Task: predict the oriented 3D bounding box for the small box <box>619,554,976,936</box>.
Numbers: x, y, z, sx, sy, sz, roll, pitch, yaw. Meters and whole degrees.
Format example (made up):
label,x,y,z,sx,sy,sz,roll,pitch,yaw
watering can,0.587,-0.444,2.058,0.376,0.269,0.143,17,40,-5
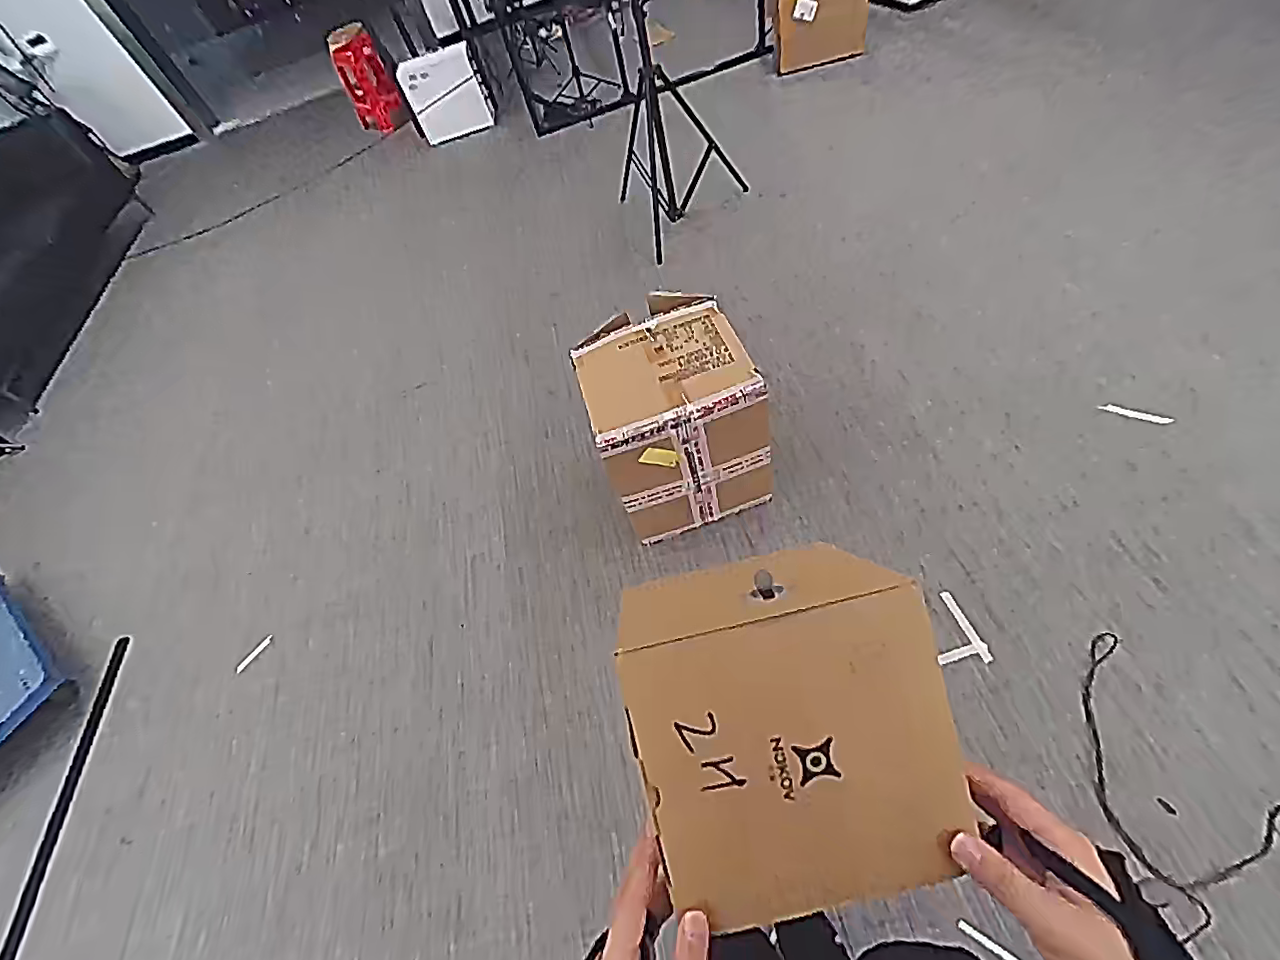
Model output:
label,x,y,z,sx,sy,sz,roll,pitch,yaw
small box,0.088,0.158,0.383,0.179,0.176,0.168,-14,90,1
